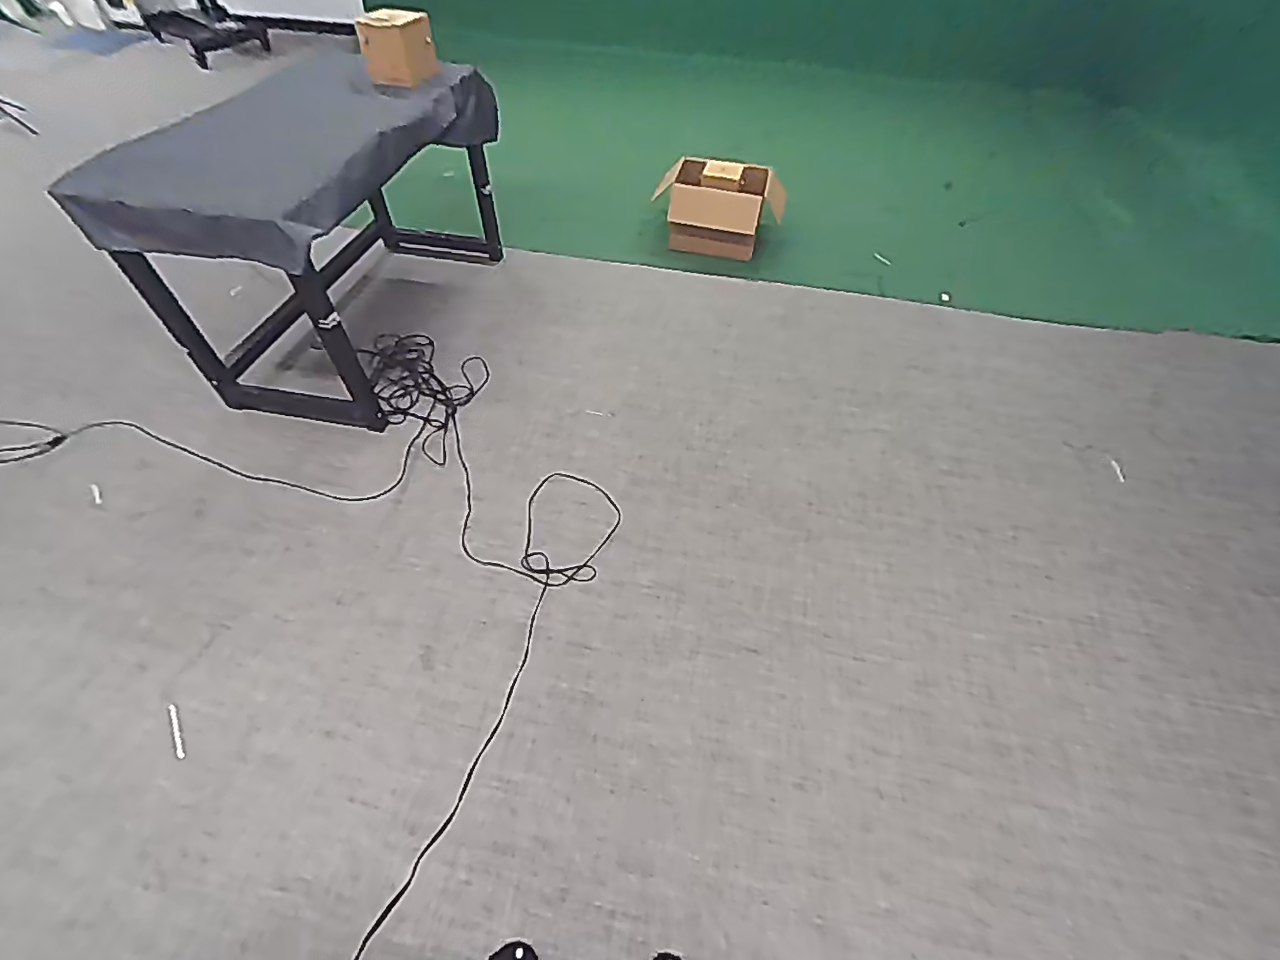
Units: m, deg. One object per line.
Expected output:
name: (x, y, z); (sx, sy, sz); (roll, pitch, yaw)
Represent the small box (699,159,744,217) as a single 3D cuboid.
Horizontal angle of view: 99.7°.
small box: (0.368, -1.328, 2.460); (0.168, 0.176, 0.179); (13, 51, 8)
